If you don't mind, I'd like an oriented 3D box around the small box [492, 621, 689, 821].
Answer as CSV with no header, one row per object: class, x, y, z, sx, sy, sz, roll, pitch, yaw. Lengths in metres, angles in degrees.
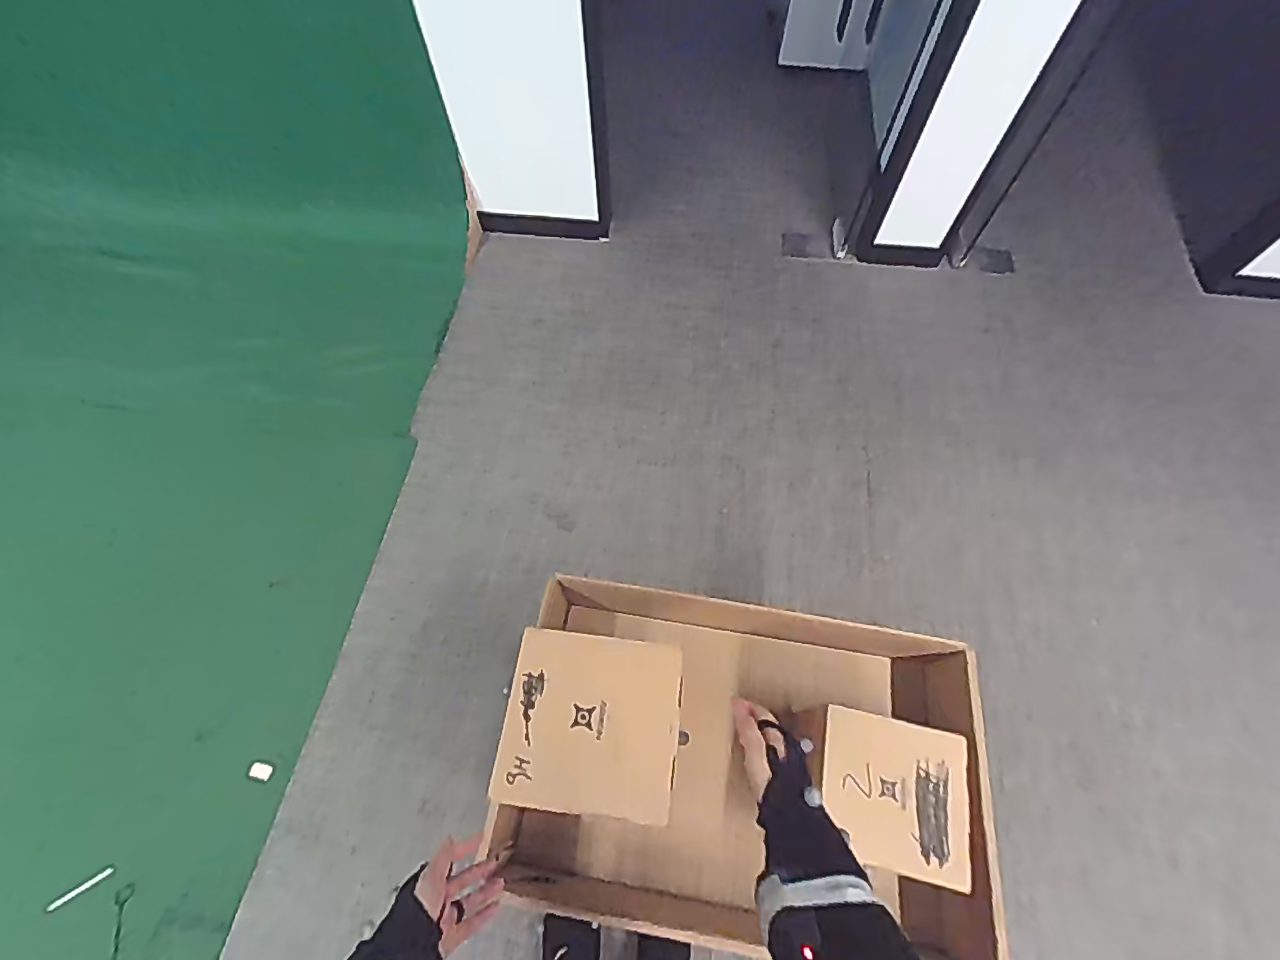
small box,-0.044,0.270,0.613,0.179,0.176,0.168,6,63,4
